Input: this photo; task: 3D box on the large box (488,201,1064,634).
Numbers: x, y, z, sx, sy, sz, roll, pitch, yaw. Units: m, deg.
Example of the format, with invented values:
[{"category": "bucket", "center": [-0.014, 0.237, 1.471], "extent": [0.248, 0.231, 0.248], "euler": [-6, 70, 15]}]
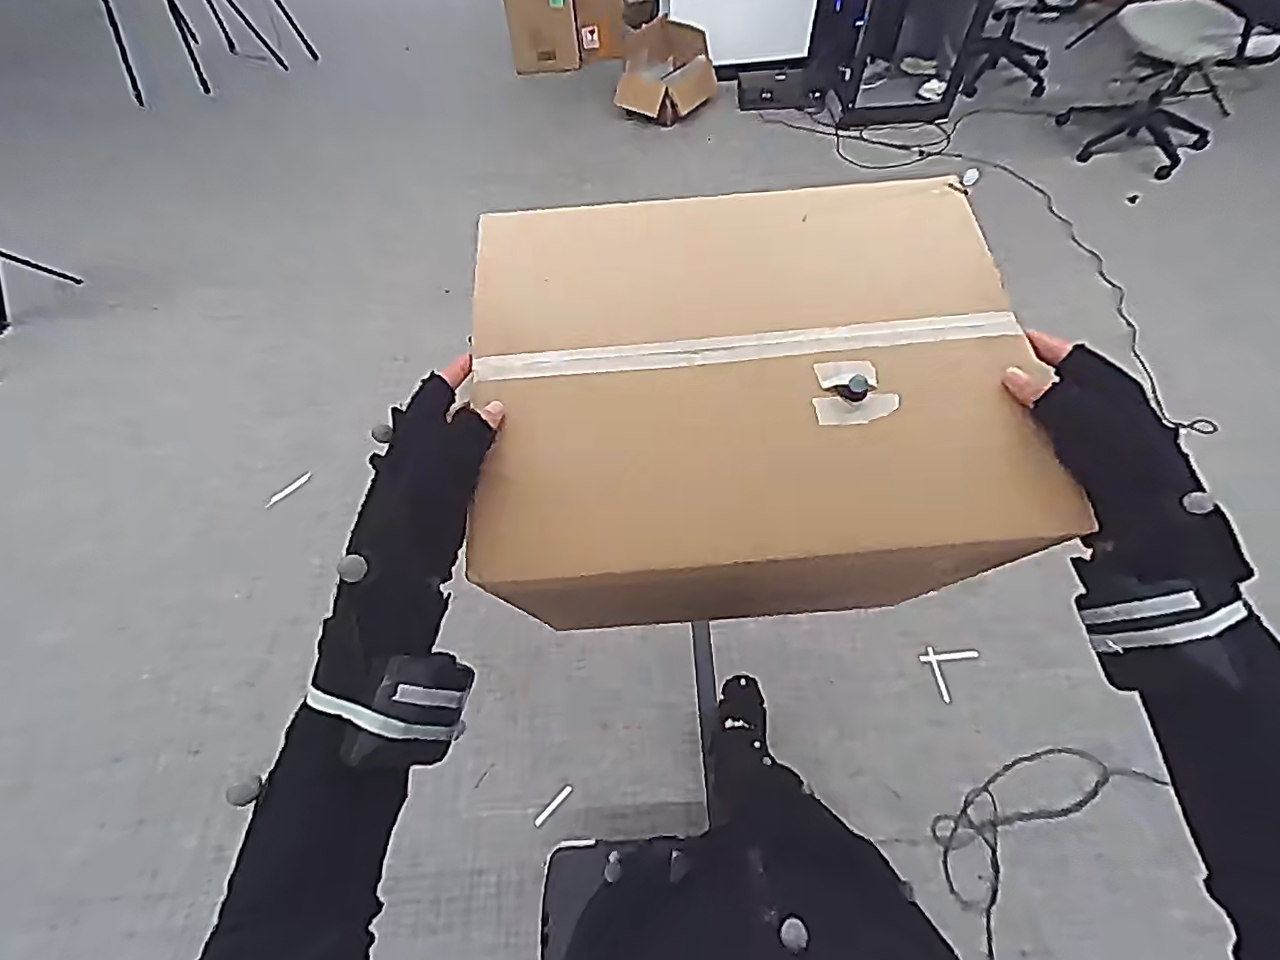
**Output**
[{"category": "large box", "center": [0.082, -0.034, 0.557], "extent": [0.408, 0.320, 0.320], "euler": [-5, 69, -1]}]
